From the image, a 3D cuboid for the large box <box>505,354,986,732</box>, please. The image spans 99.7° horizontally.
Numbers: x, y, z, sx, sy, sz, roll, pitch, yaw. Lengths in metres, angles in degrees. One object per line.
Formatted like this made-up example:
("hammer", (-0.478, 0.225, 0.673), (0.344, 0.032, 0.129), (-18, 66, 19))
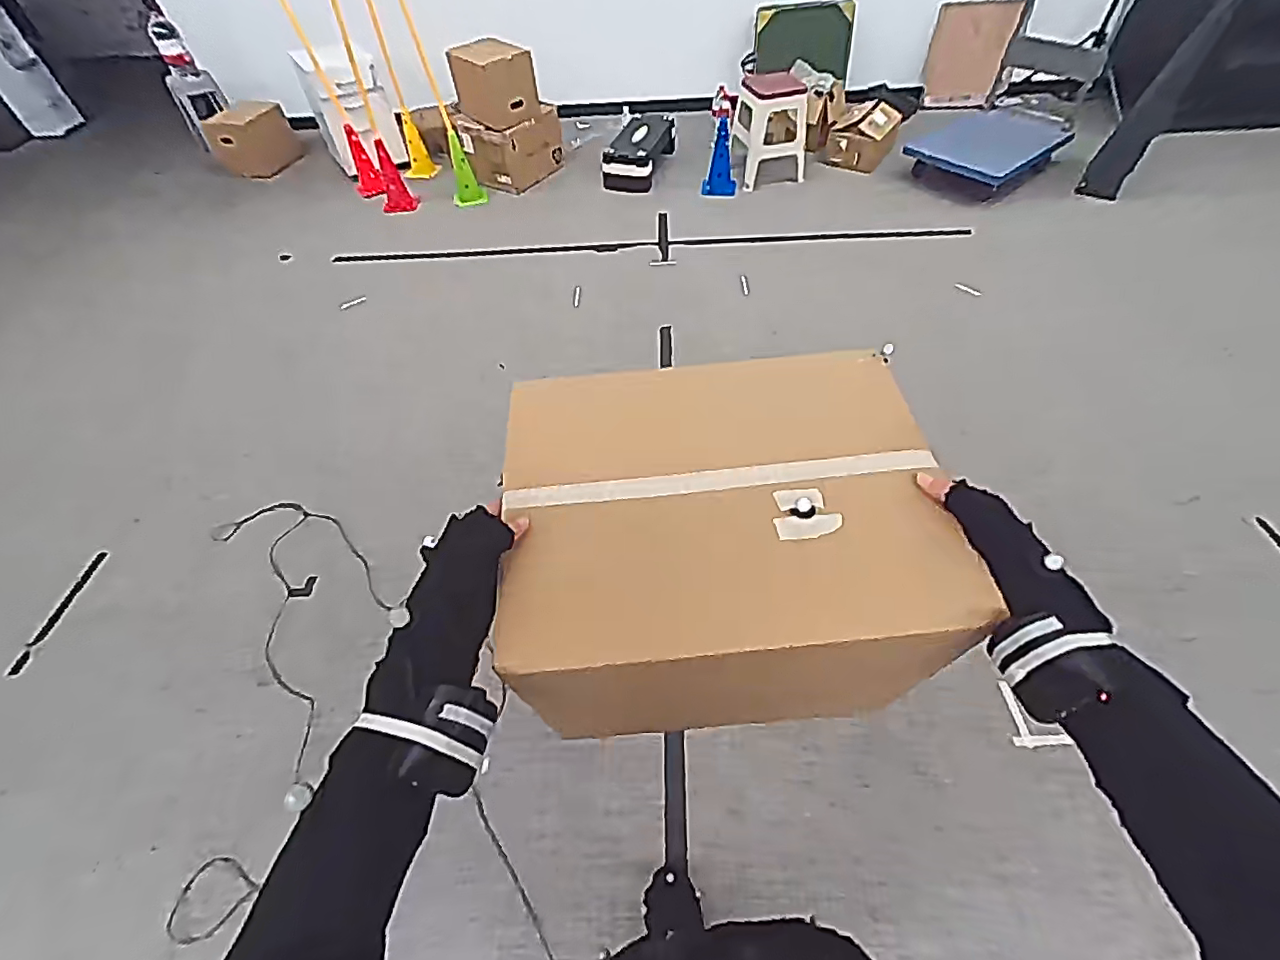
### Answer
("large box", (0.079, 0.086, 0.641), (0.408, 0.320, 0.320), (-5, 56, -1))
